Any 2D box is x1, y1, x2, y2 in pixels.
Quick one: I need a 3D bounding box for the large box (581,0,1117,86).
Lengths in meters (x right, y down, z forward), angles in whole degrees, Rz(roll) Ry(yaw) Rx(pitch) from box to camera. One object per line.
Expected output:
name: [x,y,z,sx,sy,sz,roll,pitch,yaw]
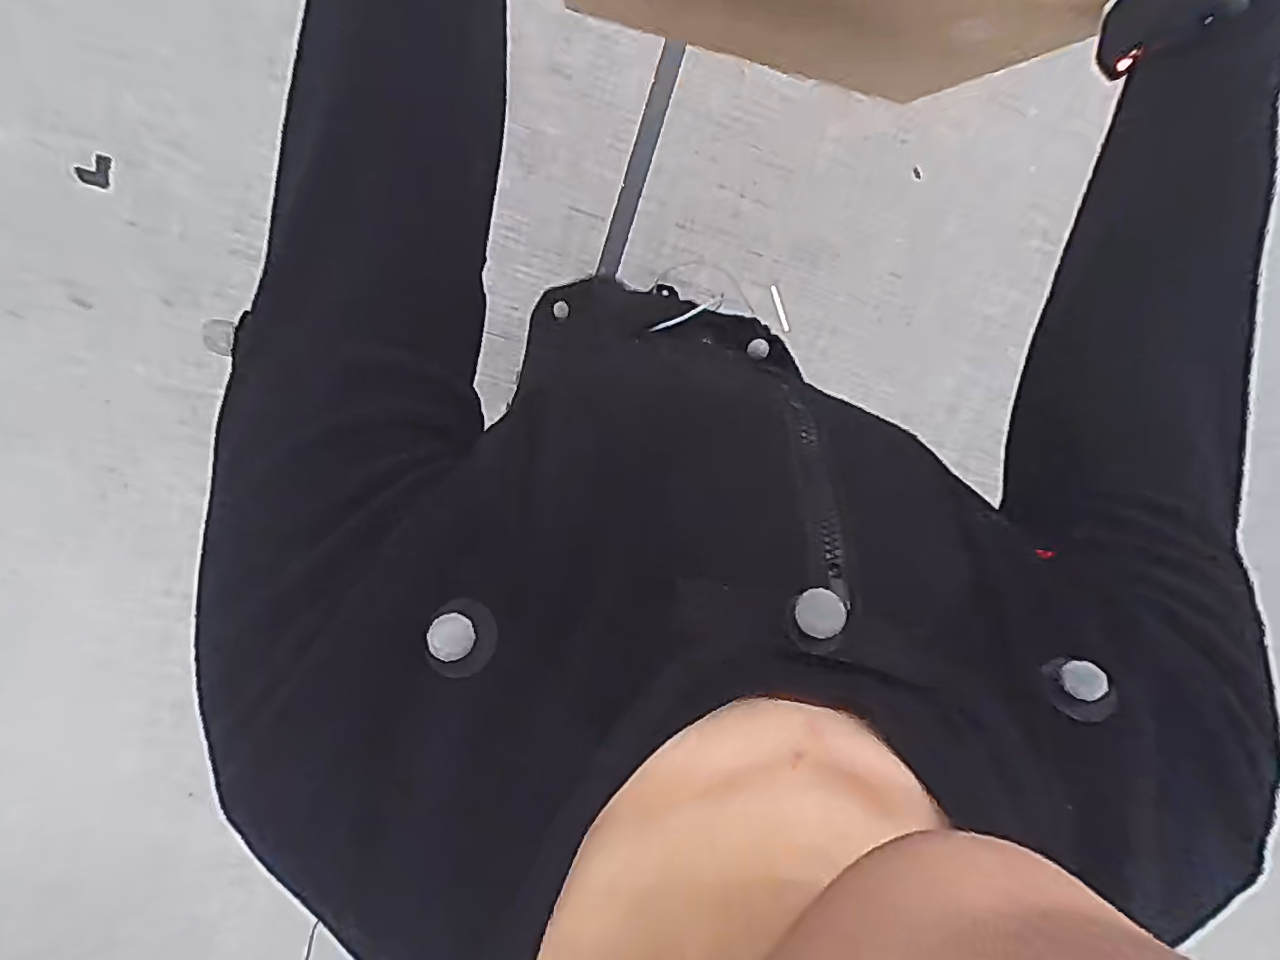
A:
large box: [0.154,-0.551,0.407,0.408,0.320,0.320,10,118,-7]
